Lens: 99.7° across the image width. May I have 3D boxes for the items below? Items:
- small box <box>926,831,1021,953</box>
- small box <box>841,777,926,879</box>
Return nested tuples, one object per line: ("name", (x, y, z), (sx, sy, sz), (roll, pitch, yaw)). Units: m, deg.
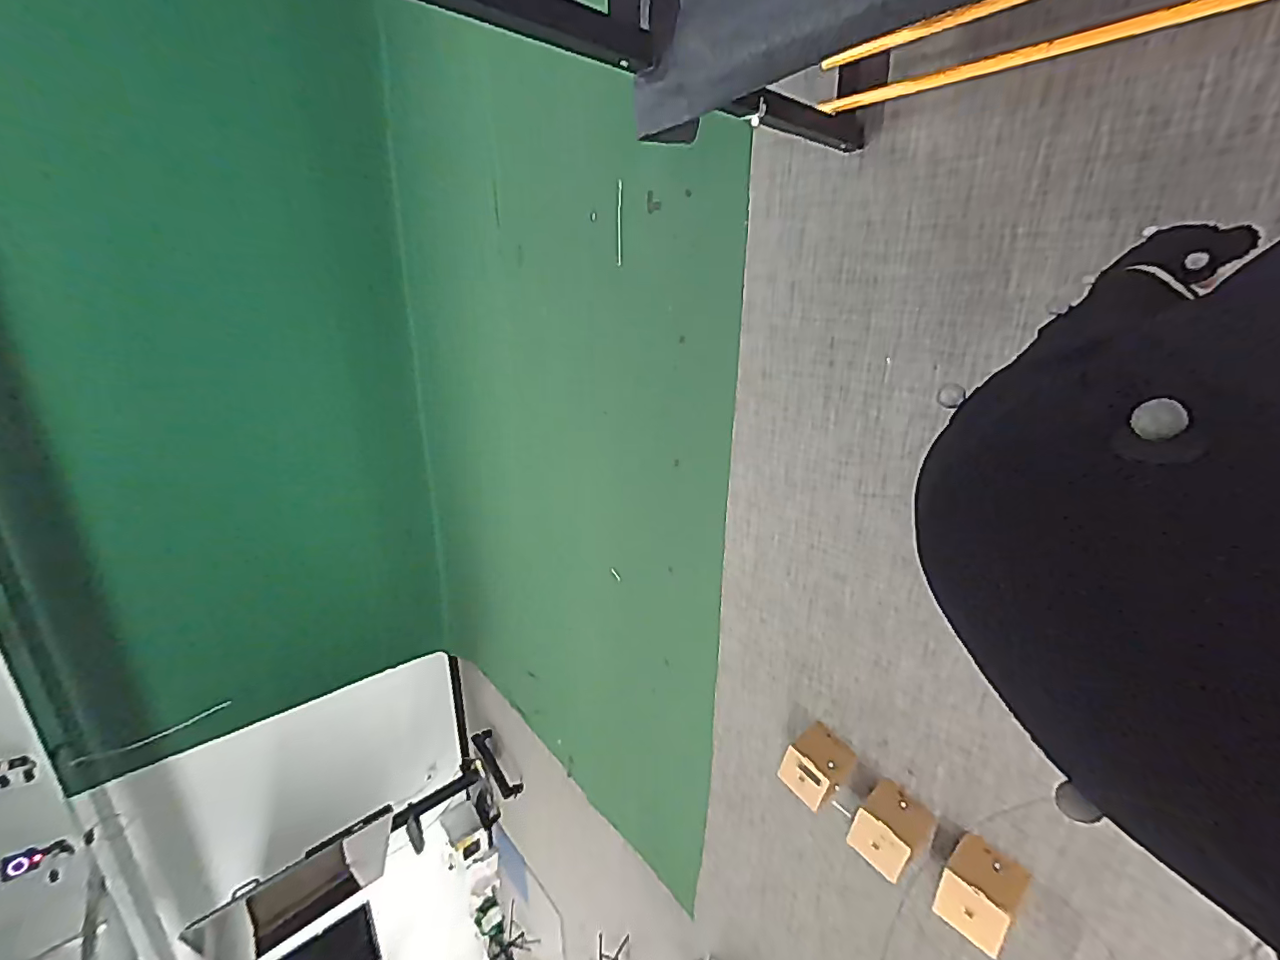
("small box", (0.937, 1.145, 1.516), (0.168, 0.176, 0.179), (22, 117, 45))
("small box", (0.767, 1.086, 1.699), (0.168, 0.176, 0.179), (31, 123, 40))
